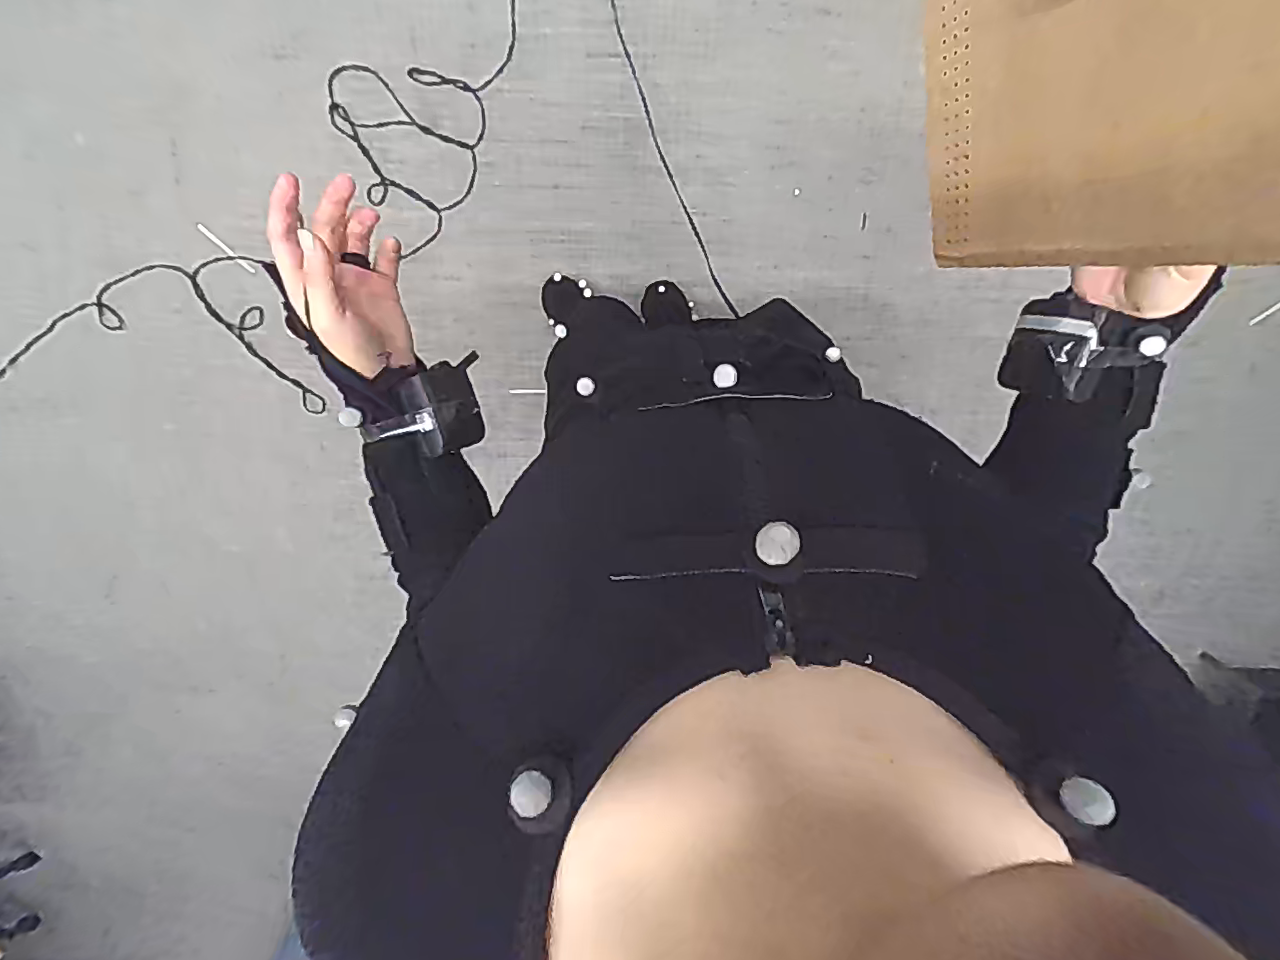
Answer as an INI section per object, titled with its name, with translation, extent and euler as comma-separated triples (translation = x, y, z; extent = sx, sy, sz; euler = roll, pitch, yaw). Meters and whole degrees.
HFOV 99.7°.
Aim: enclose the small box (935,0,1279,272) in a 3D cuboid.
[small box]
translation = 0.243, -0.191, 0.212
extent = 0.168, 0.176, 0.179
euler = -17, 112, -2
